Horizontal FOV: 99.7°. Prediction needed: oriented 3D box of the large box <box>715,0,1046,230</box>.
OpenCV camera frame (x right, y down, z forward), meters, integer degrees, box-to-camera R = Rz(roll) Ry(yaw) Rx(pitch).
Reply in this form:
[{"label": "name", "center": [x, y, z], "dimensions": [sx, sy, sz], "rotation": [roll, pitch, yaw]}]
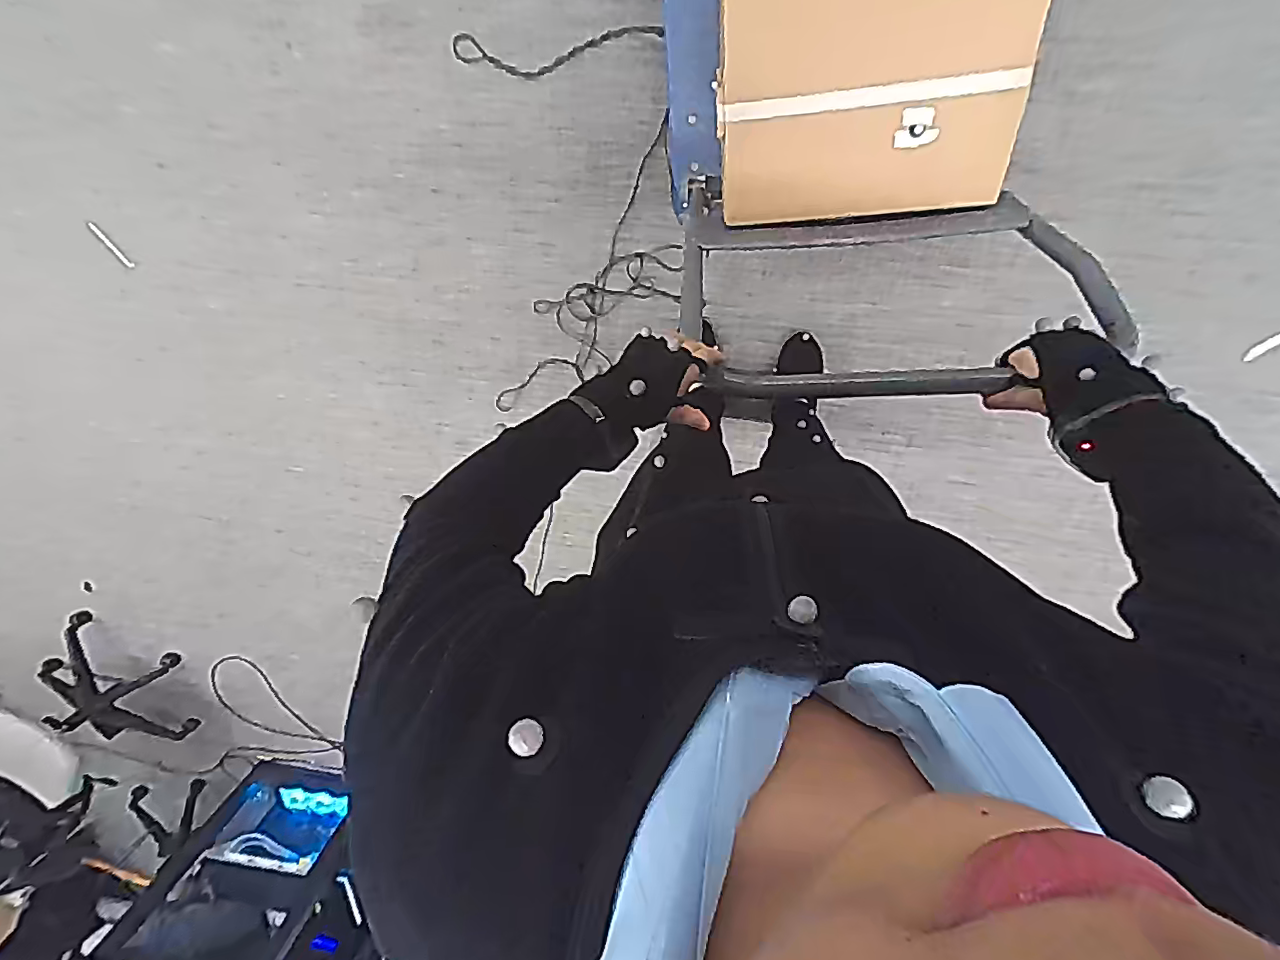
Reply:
[{"label": "large box", "center": [0.328, -0.618, 0.862], "dimensions": [0.408, 0.320, 0.320], "rotation": [-1, 129, 8]}]
